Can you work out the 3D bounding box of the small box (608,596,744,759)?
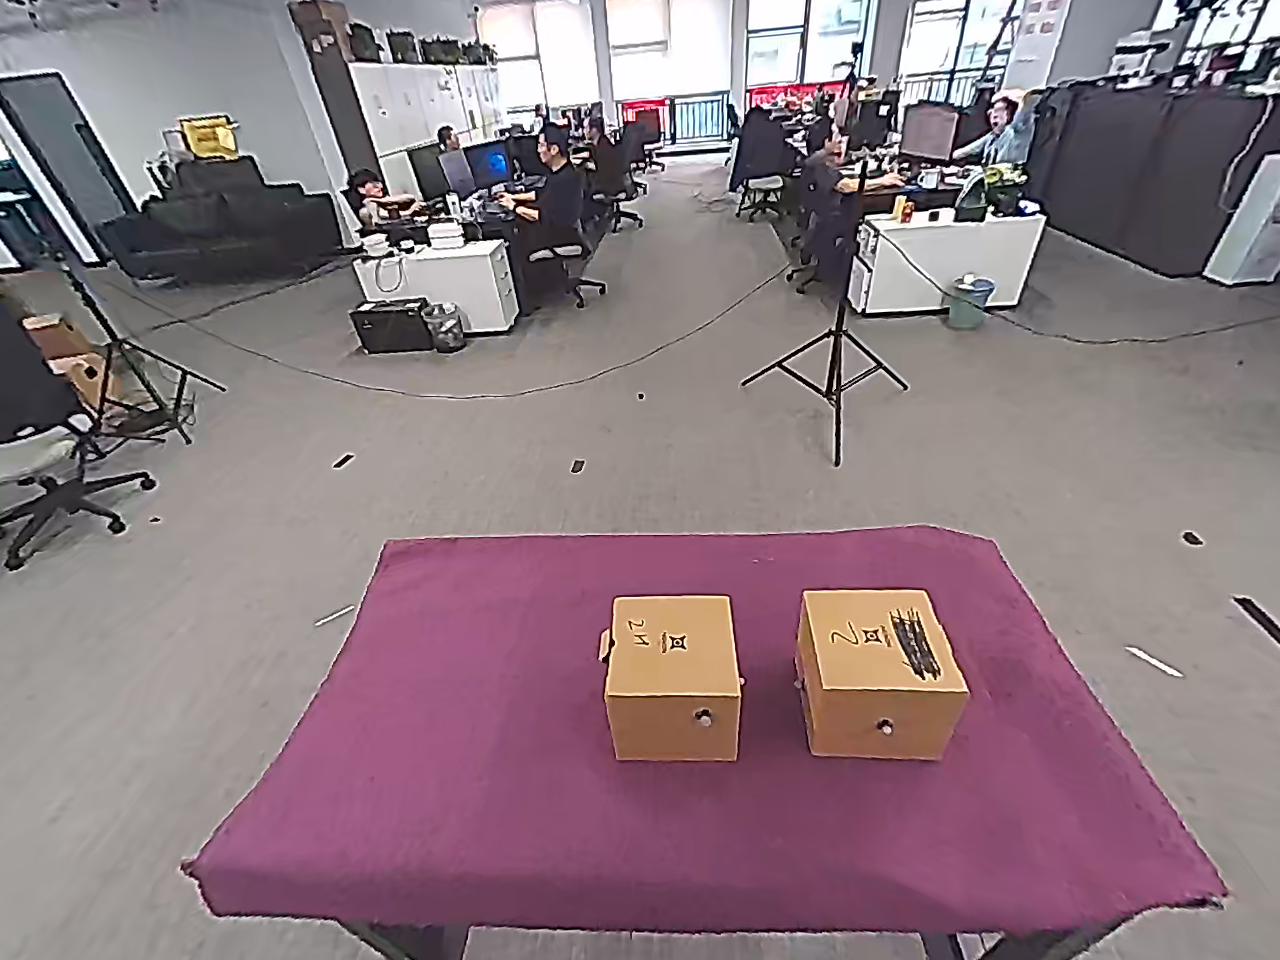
[{"bbox_3d":[0.054,0.290,0.796,0.179,0.176,0.168,-3,36,5],"label":"small box"}]
